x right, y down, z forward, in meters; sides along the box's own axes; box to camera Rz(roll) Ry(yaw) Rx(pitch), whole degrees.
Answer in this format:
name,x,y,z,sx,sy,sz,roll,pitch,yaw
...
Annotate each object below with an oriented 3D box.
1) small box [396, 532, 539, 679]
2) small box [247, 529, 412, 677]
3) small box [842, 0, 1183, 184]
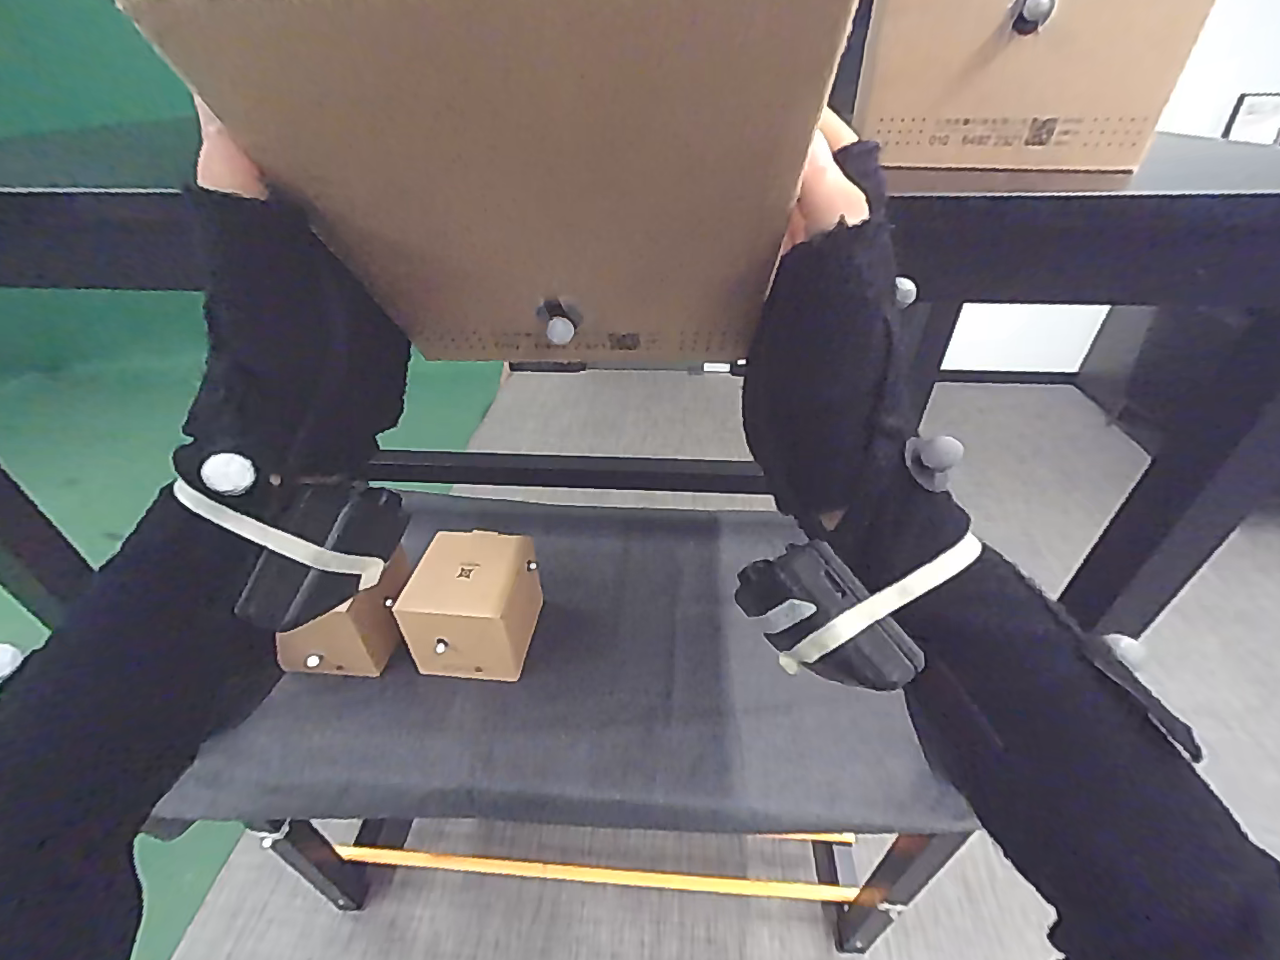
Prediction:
name,x,y,z,sx,sy,sz,roll,pitch,yaw
small box,-0.273,0.211,0.908,0.168,0.176,0.179,3,36,4
small box,-0.501,0.205,0.913,0.168,0.176,0.179,2,37,3
small box,0.245,-0.314,0.380,0.168,0.176,0.179,9,37,12
